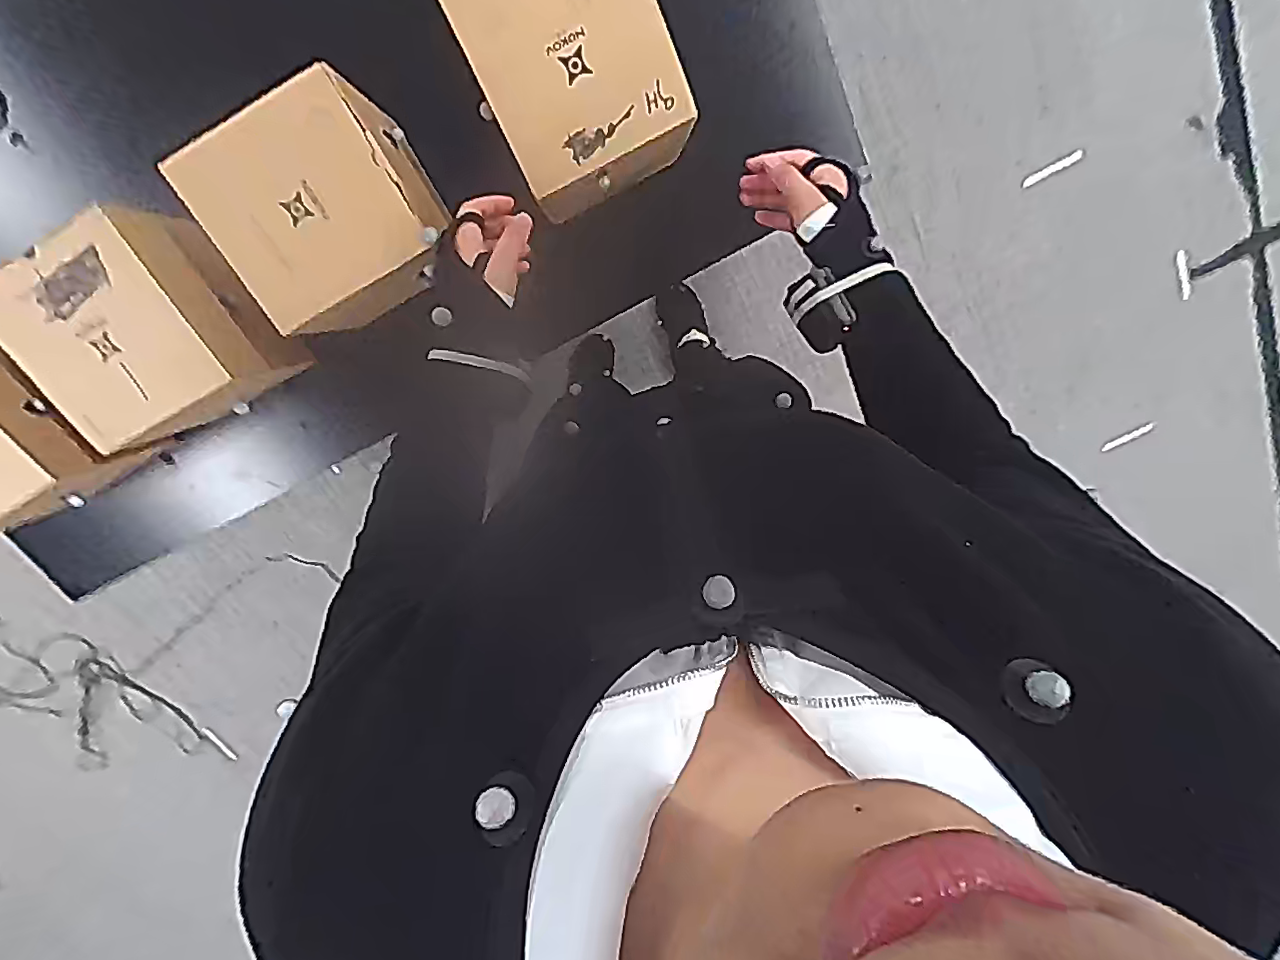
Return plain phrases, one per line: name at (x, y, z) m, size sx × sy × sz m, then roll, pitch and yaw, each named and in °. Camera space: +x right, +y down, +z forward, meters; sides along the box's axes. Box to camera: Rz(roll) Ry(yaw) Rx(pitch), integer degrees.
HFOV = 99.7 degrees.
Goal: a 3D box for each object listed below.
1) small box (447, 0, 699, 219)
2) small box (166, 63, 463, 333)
small box at (-0.061, -0.389, 0.535) m, size 0.168 × 0.176 × 0.179 m, roll -26°, pitch 107°, yaw 5°
small box at (-0.307, -0.273, 0.562) m, size 0.179 × 0.176 × 0.168 m, roll -28°, pitch 107°, yaw 7°
